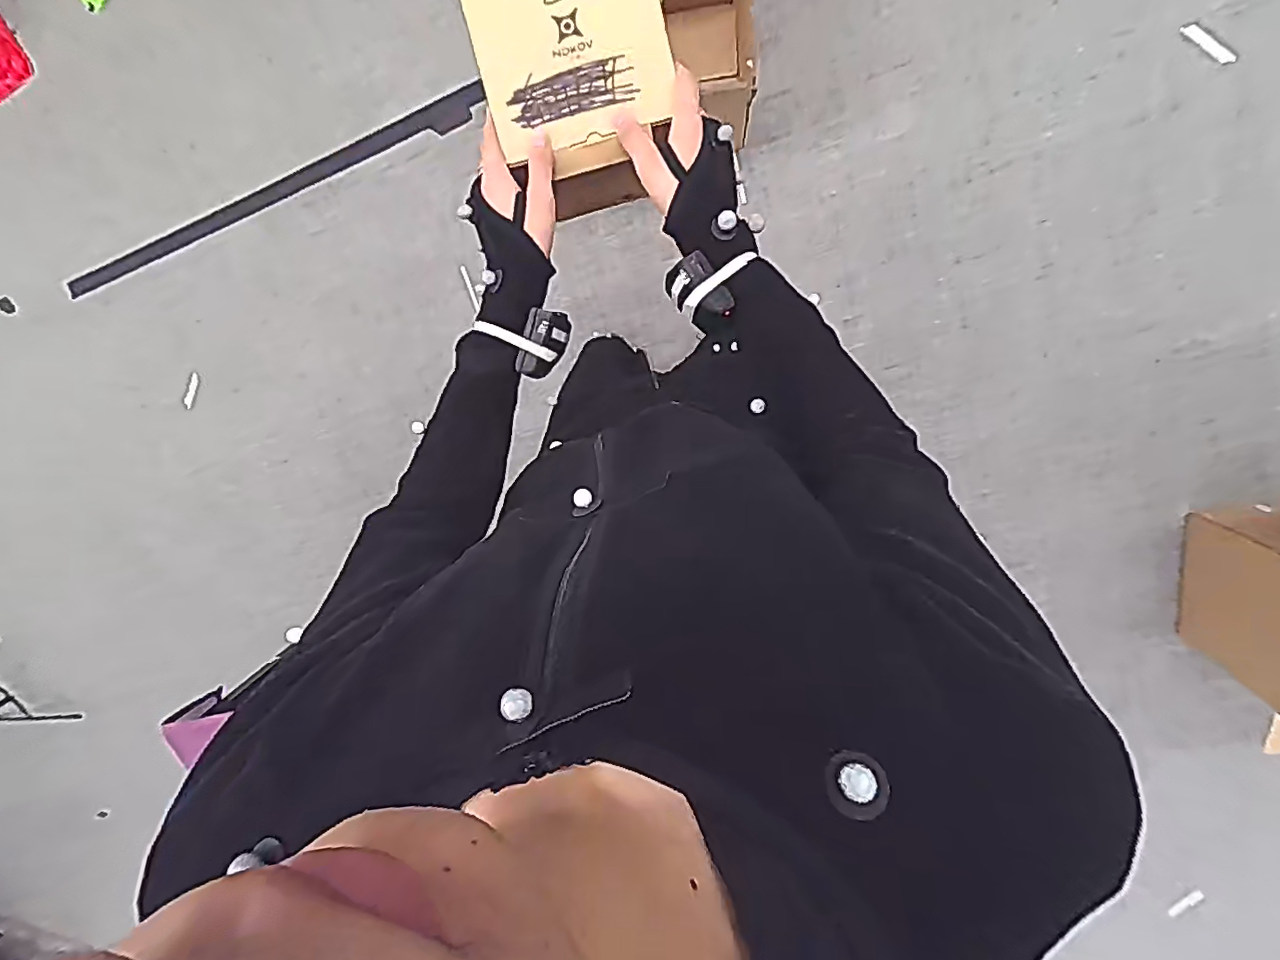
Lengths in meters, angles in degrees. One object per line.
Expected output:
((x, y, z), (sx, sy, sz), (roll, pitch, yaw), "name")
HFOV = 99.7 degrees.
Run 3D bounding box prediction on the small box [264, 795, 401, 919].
((-0.686, 0.851, 1.227), (0.179, 0.176, 0.168), (-13, 107, 13), "small box")
